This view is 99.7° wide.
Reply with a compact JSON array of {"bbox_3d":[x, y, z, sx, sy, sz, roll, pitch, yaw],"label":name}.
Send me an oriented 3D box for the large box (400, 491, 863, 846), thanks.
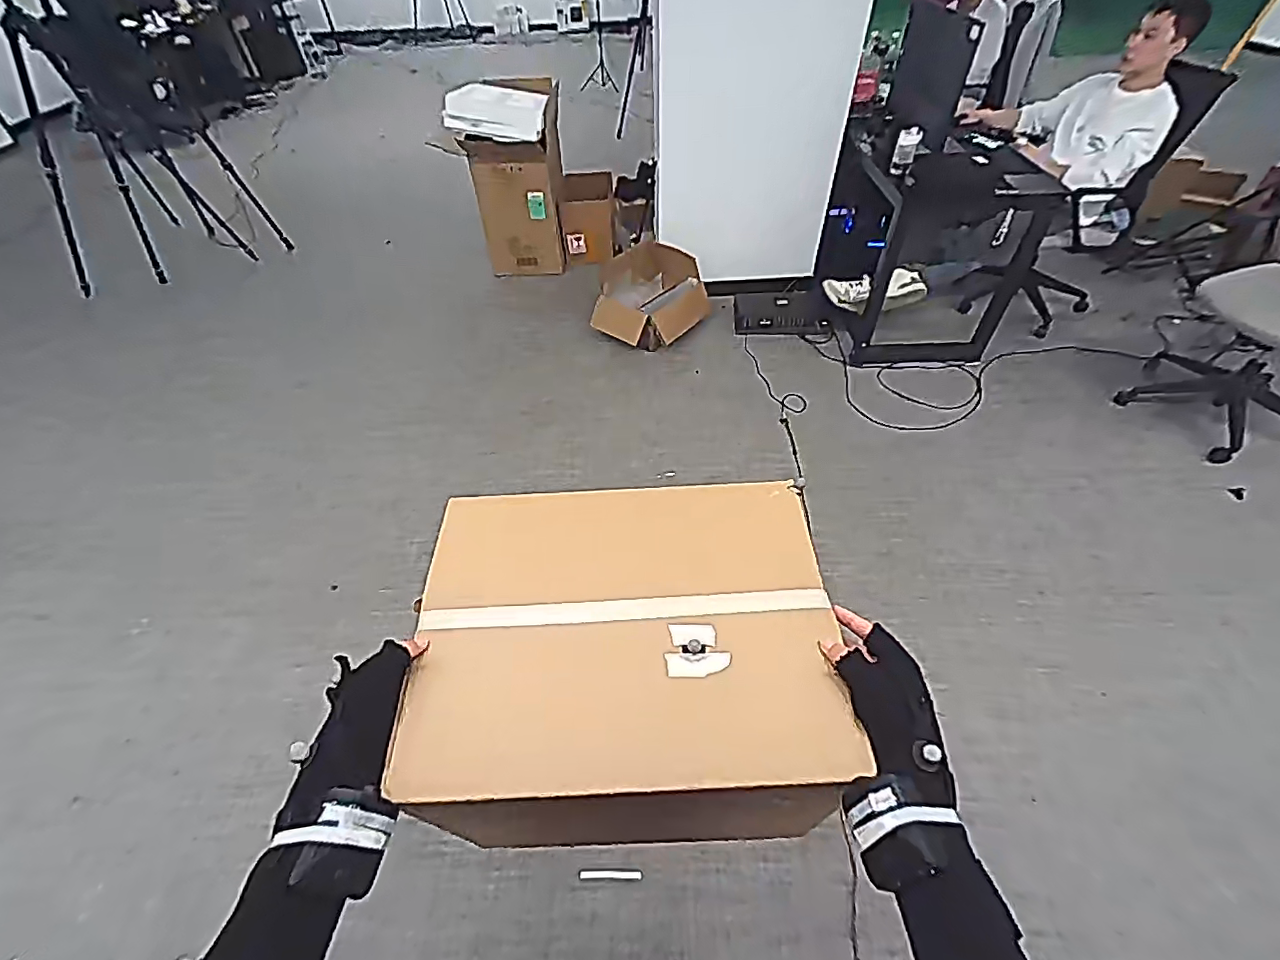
[{"bbox_3d":[-0.010,0.236,0.664,0.408,0.320,0.320,-2,51,0],"label":"large box"}]
